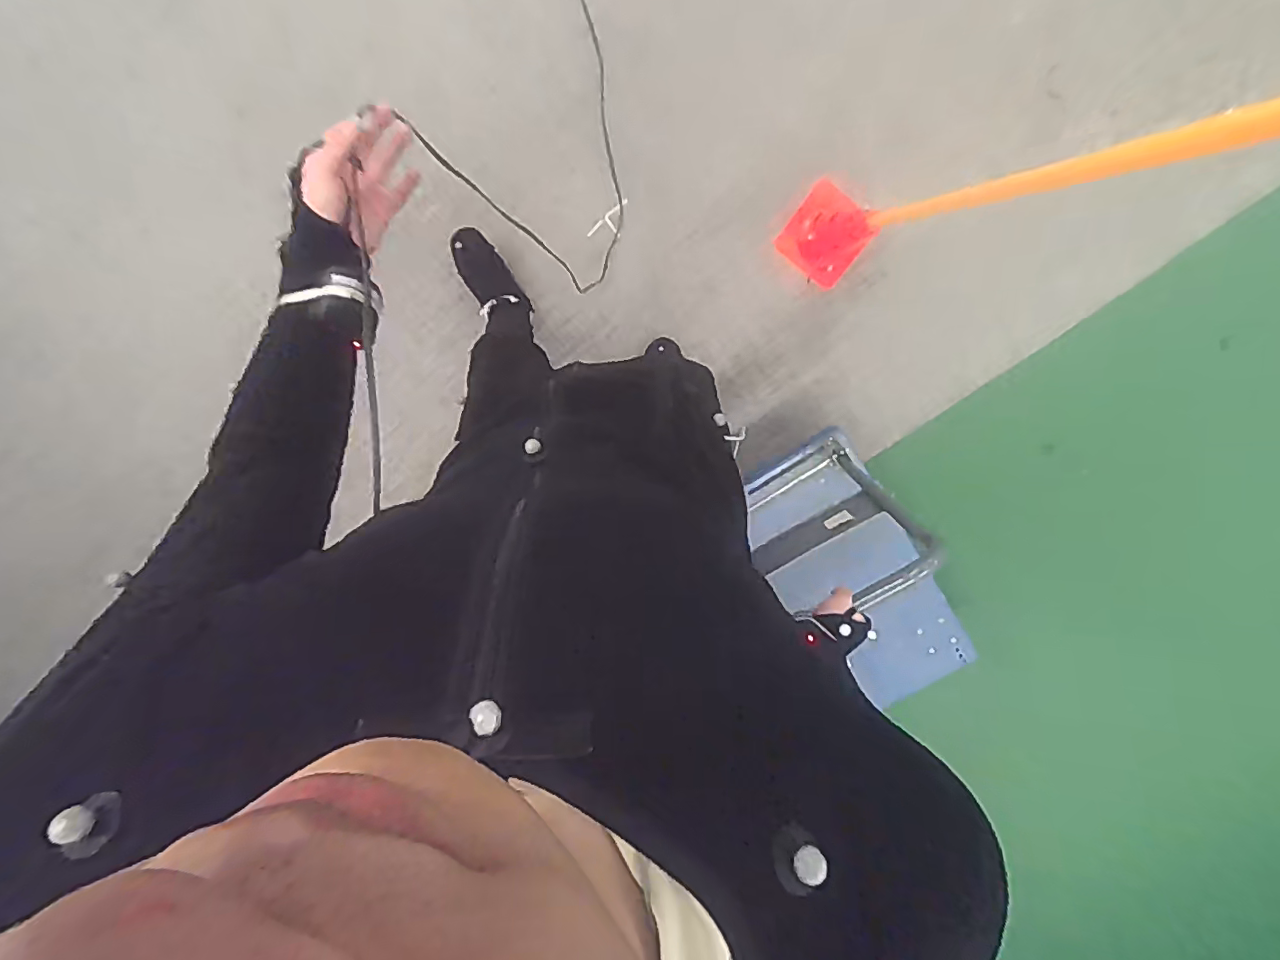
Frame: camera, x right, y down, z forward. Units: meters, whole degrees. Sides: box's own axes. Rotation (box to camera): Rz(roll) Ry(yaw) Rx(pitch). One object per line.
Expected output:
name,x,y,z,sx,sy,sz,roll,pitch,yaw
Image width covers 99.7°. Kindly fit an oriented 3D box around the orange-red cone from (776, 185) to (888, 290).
orange-red cone,0.475,-0.566,1.233,0.198,0.360,0.199,36,106,-11
